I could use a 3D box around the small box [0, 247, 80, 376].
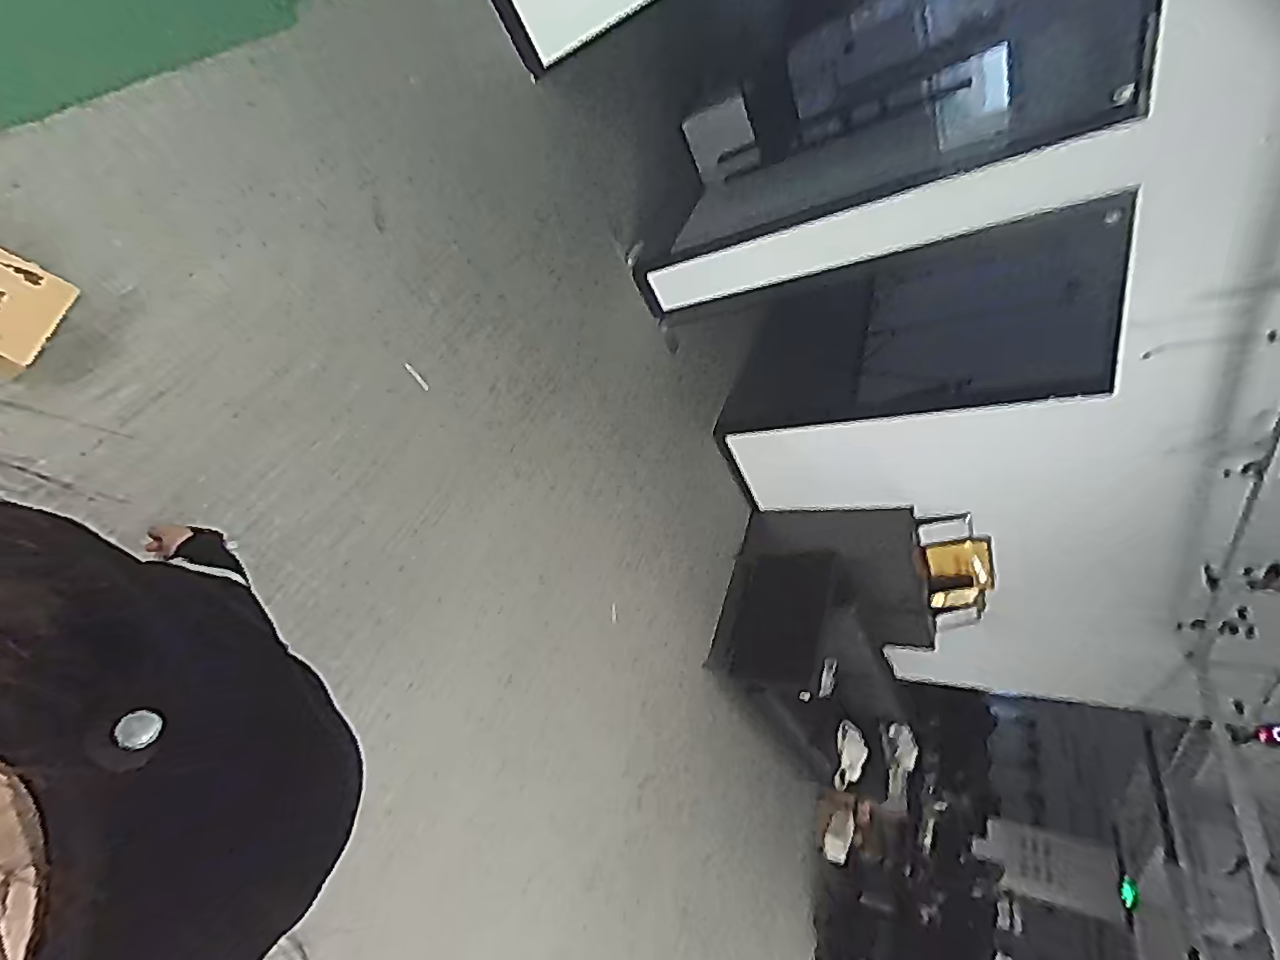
[{"bbox_3d":[-1.159,-0.305,0.956,0.168,0.176,0.179,38,57,-49],"label":"small box"}]
